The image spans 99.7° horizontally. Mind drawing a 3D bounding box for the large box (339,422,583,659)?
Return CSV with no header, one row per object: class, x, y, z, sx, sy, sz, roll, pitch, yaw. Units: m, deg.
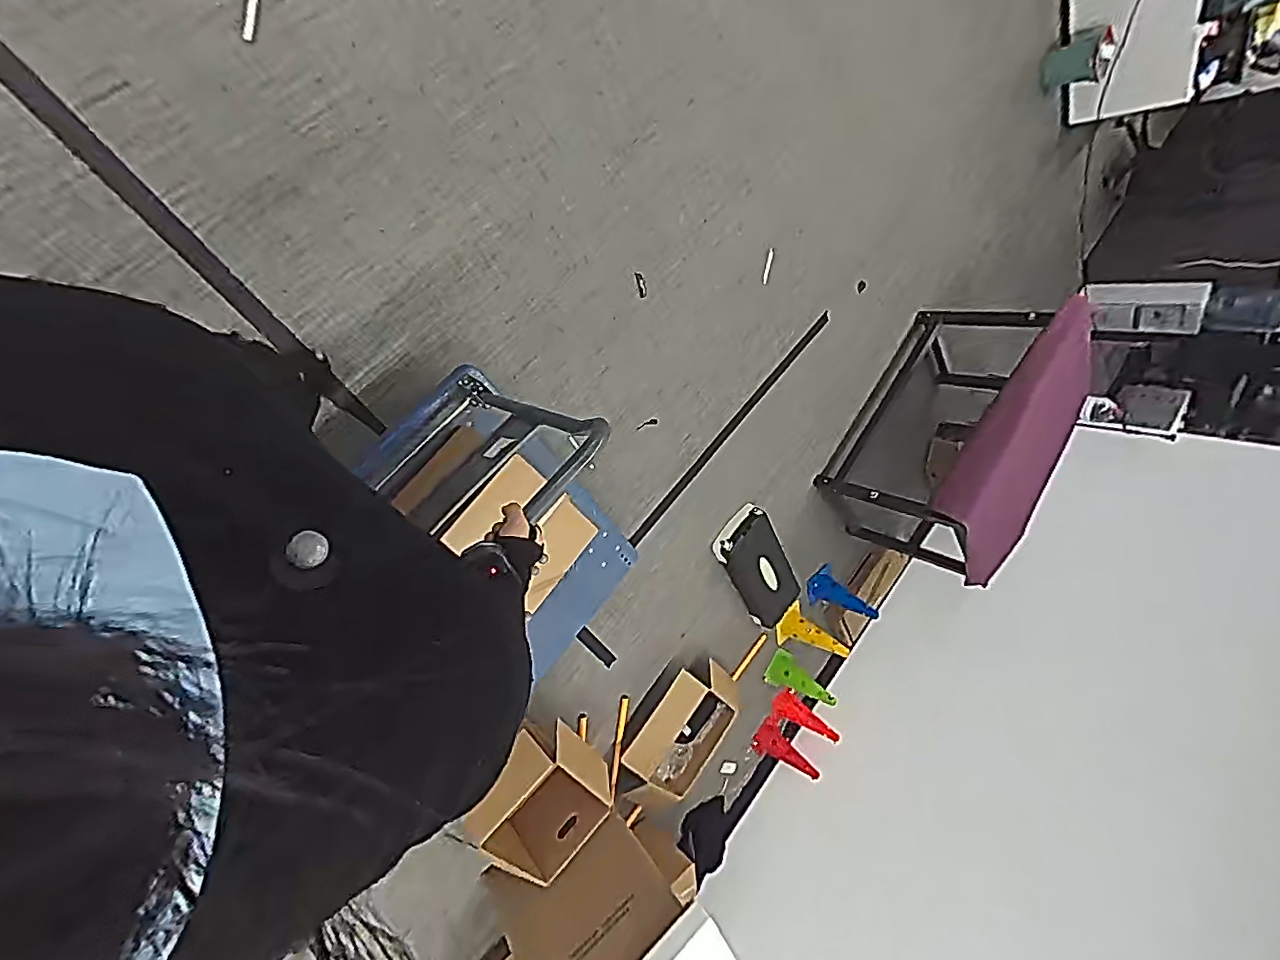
large box,-0.421,0.129,1.288,0.408,0.320,0.320,-51,130,-13
